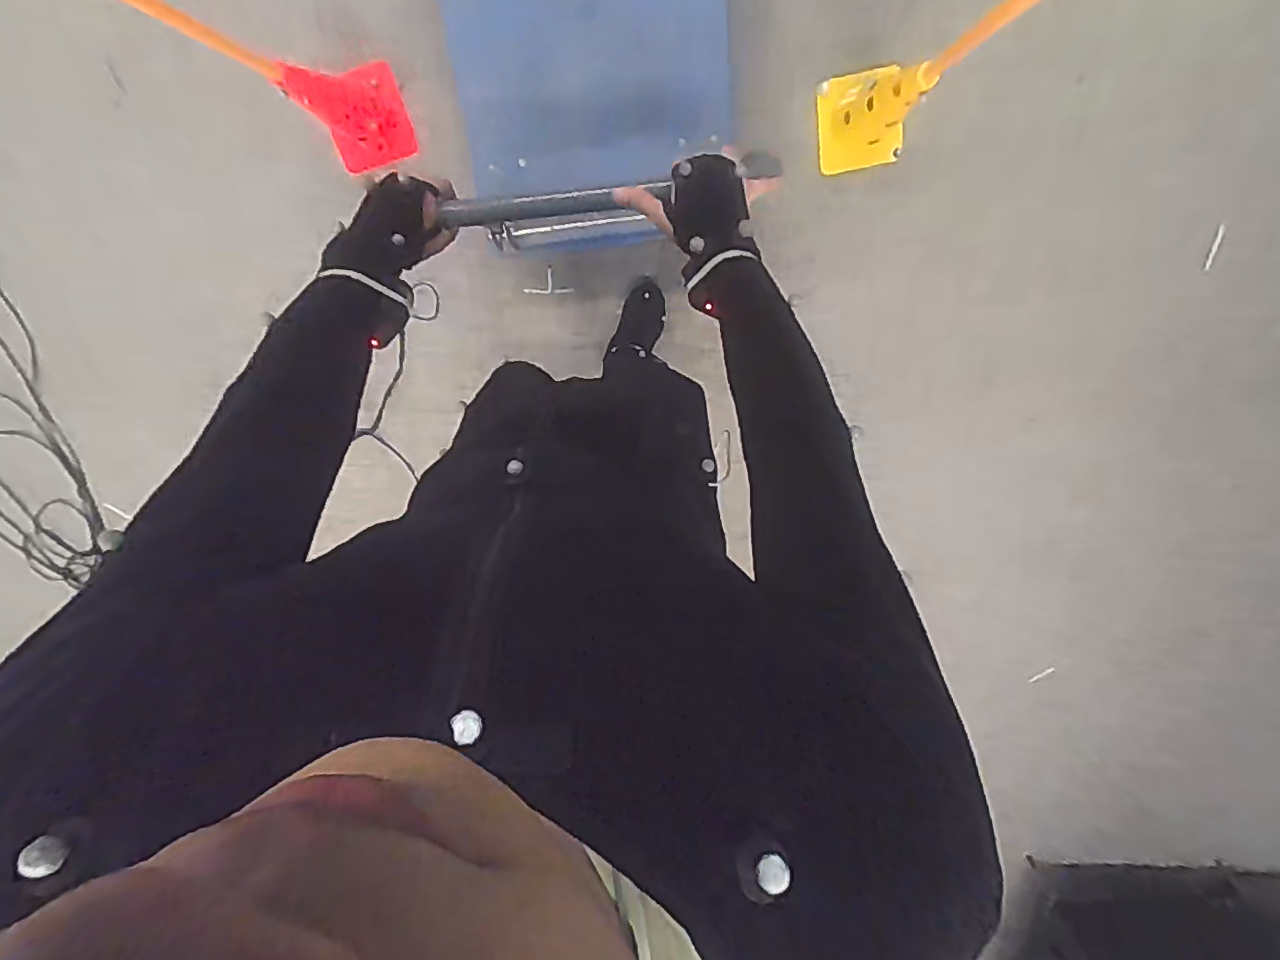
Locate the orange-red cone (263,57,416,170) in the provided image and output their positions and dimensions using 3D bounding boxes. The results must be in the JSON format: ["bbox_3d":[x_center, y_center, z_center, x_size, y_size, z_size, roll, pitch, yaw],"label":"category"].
[{"bbox_3d":[-0.658,-0.803,1.134,0.199,0.360,0.198,-12,111,7],"label":"orange-red cone"}]
